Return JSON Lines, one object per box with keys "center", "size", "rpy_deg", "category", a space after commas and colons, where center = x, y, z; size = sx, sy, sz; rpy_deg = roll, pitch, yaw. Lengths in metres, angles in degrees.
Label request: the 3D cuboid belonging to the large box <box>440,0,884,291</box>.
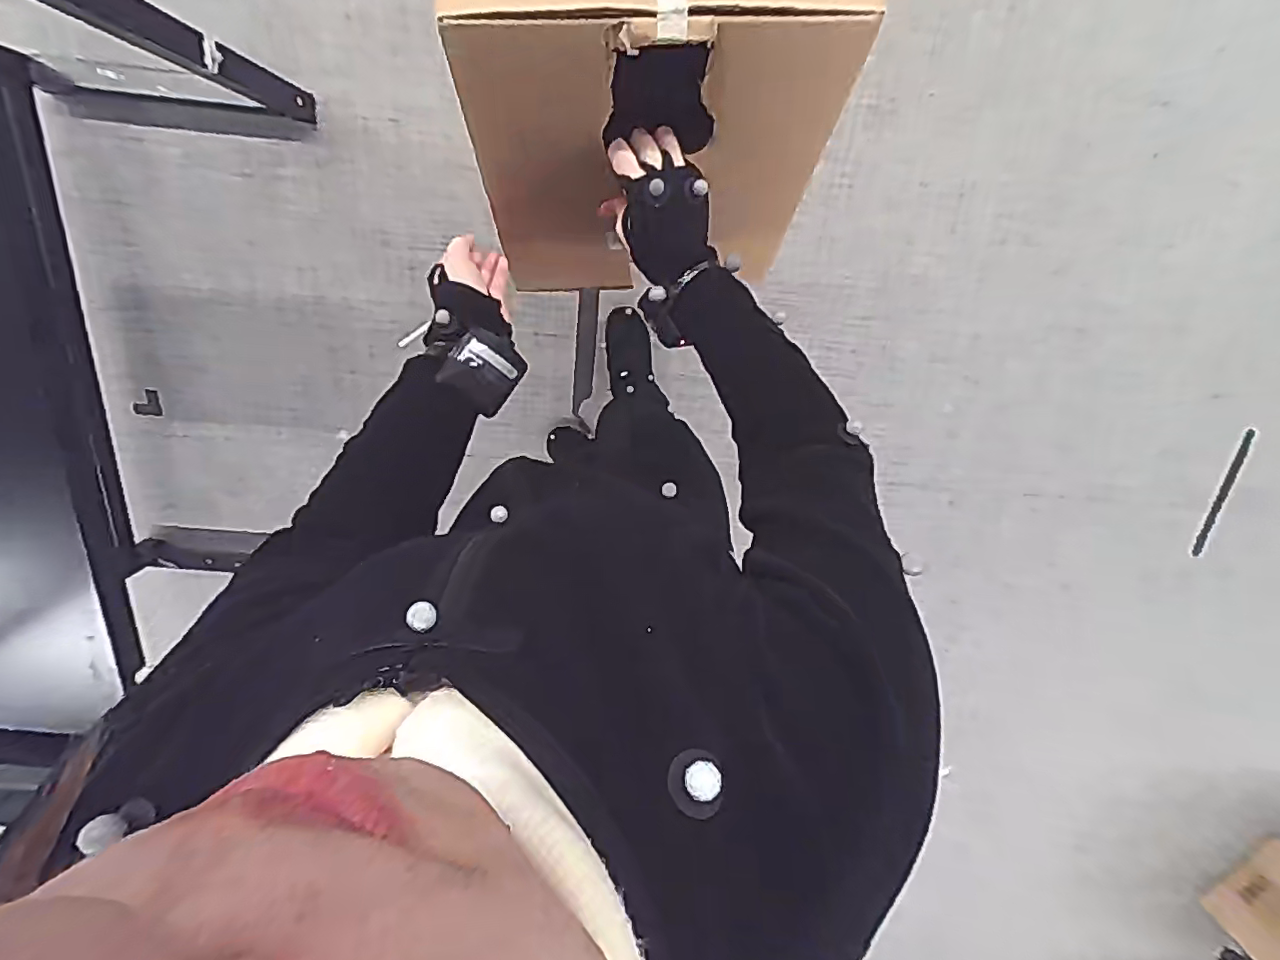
{"center": [-0.004, -0.463, 0.561], "size": [0.320, 0.320, 0.408], "rpy_deg": [-4, 75, -5], "category": "large box"}
